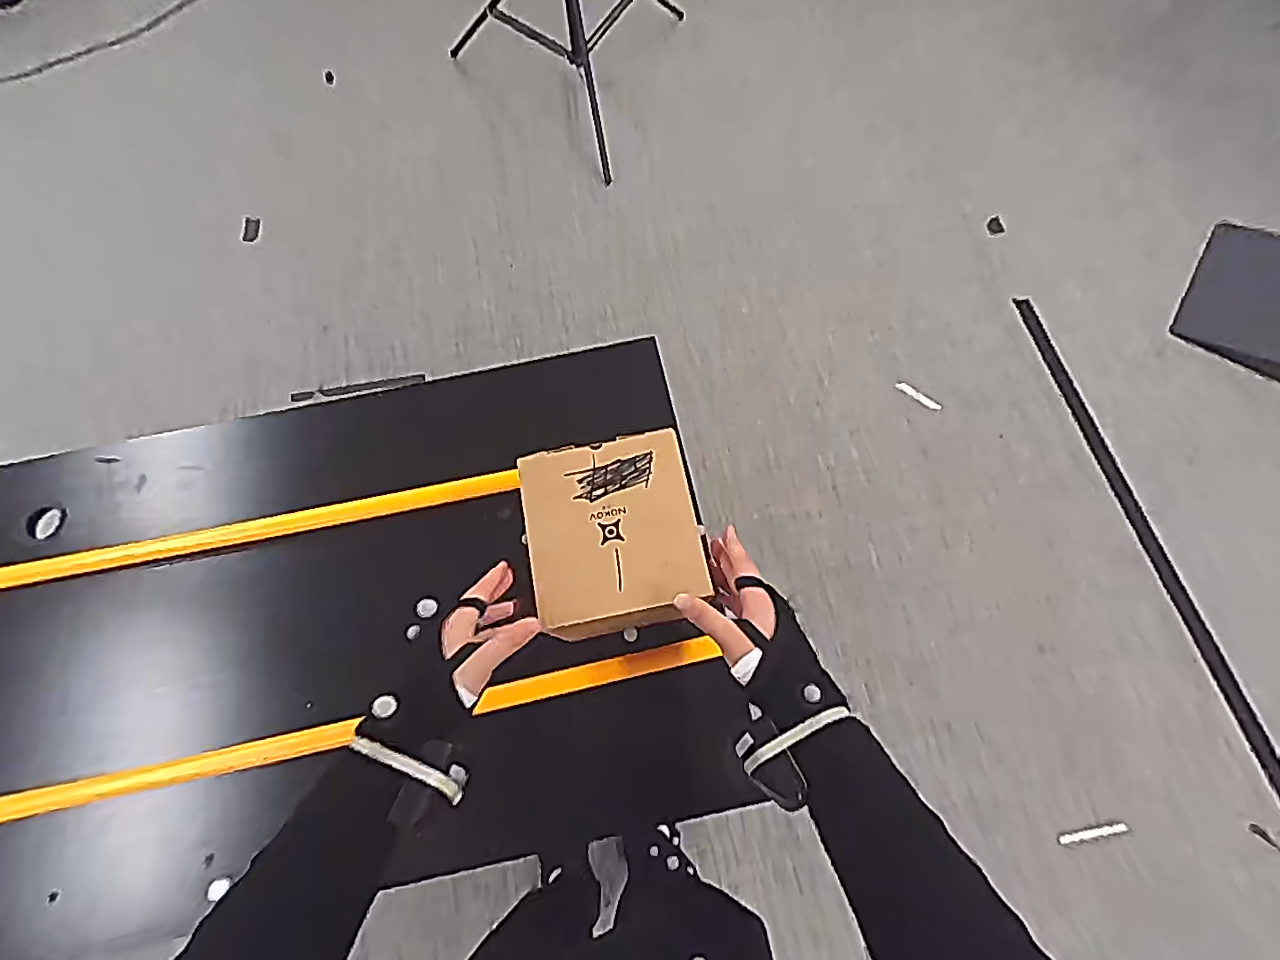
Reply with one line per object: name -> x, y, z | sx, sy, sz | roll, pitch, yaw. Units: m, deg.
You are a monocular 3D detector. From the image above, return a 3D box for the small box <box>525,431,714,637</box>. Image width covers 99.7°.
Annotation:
small box -> -0.022, 0.069, 0.606 | 0.168, 0.176, 0.179 | -11, 70, -1
